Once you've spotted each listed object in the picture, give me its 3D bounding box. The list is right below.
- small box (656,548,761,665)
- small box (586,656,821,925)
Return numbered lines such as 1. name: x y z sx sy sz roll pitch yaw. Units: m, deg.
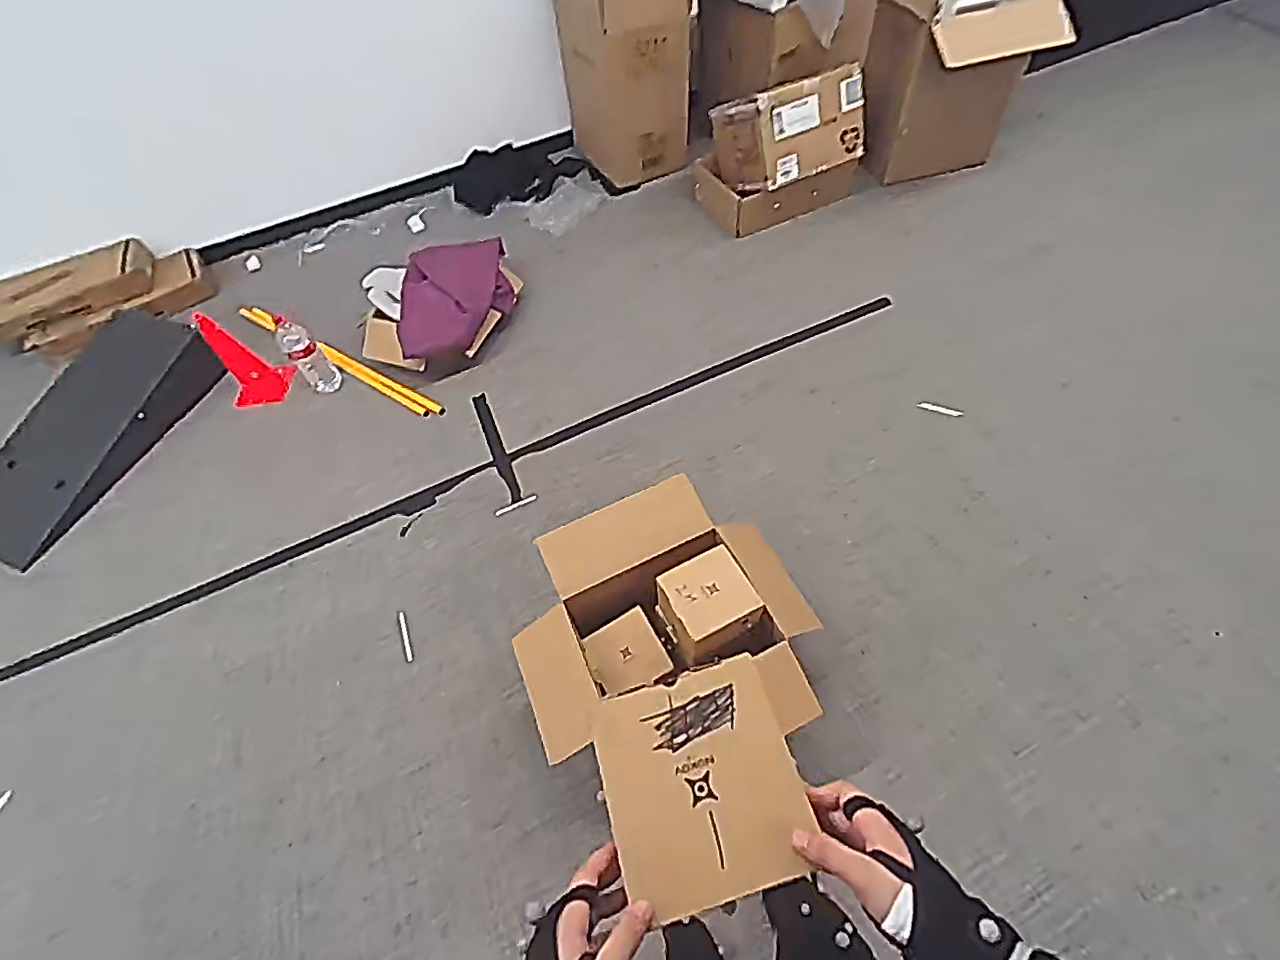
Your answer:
1. small box: 0.149 0.289 1.225 0.179 0.176 0.168 -25 57 -12
2. small box: 0.053 0.304 0.541 0.168 0.176 0.179 -16 56 -4
